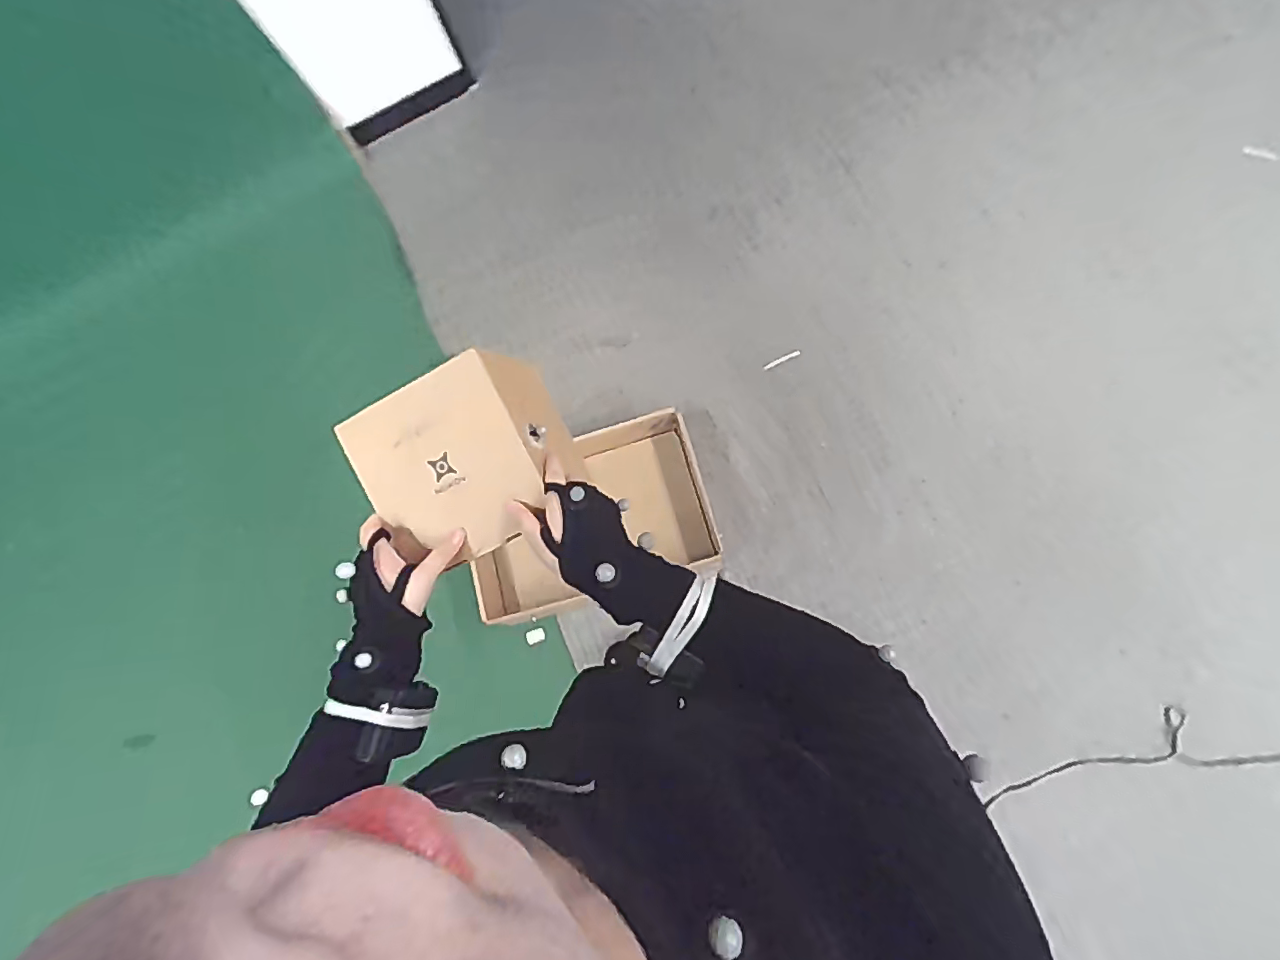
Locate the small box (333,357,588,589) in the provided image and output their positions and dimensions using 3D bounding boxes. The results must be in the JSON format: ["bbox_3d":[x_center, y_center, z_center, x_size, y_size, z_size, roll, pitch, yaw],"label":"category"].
[{"bbox_3d":[-0.175,-0.013,0.585,0.168,0.176,0.179,-26,92,9],"label":"small box"}]
